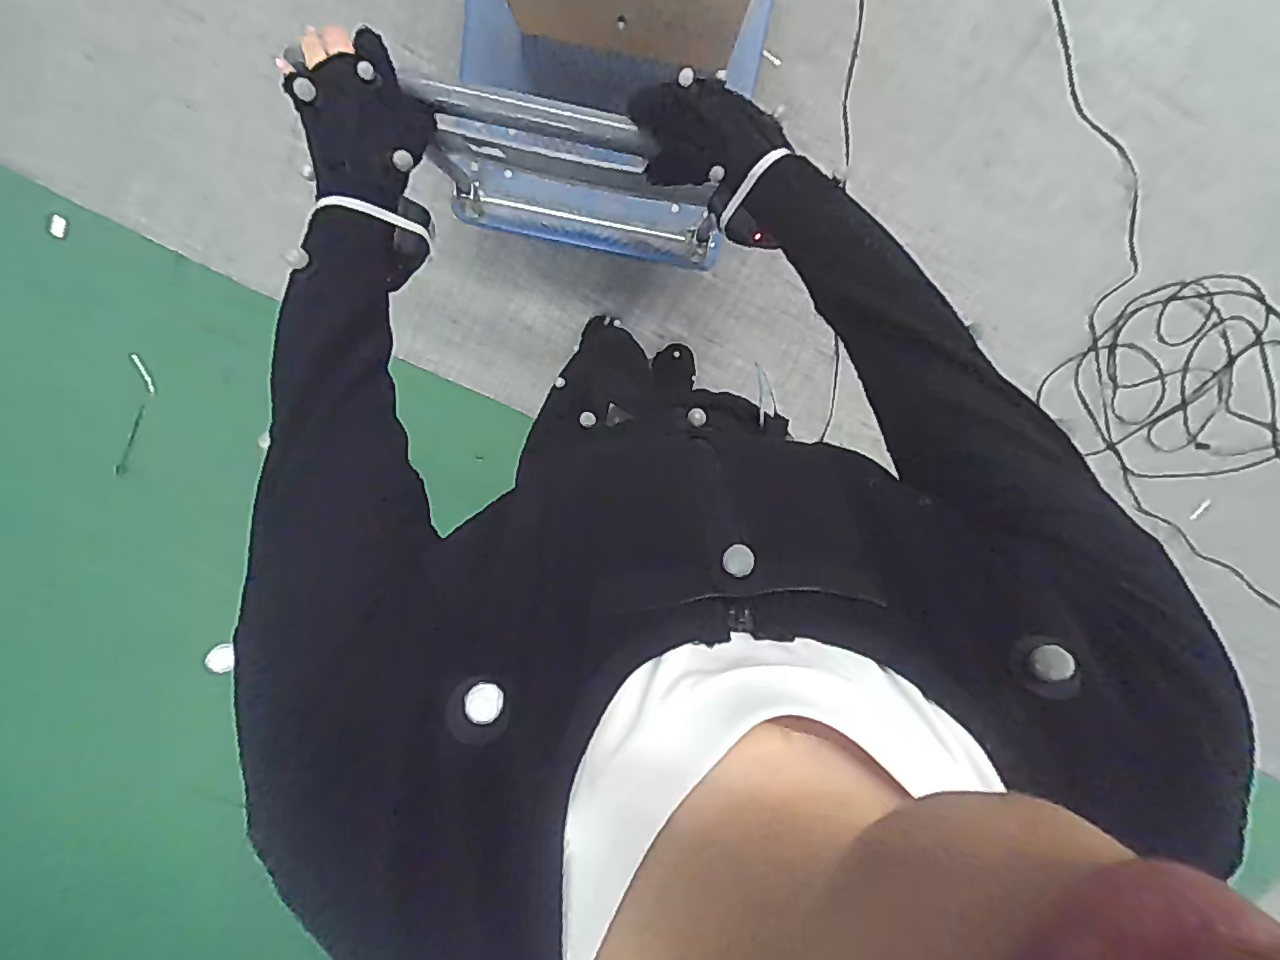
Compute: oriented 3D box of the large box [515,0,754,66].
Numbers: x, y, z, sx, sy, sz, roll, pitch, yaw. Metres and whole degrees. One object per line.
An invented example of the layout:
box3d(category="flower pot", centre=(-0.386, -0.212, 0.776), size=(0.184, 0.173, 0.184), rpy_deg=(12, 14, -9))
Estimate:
box3d(category="large box", centre=(-0.001, -0.934, 0.874), size=(0.408, 0.320, 0.320), rpy_deg=(8, 107, -2))
